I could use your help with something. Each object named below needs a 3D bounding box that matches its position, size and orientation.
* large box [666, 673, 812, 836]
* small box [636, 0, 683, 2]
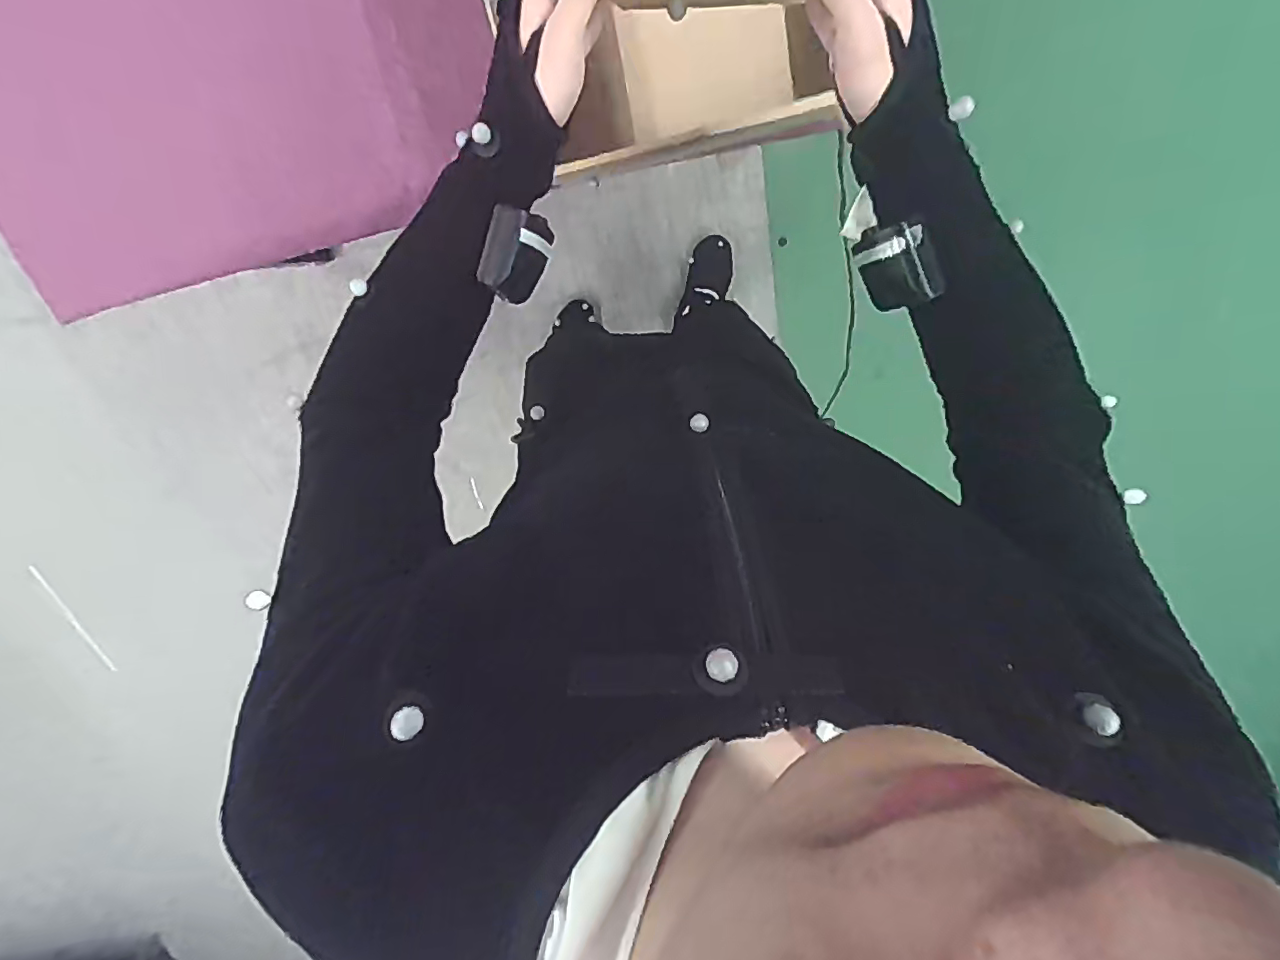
[{"bbox_3d":[0.346,1.010,2.000,0.320,0.320,0.408,42,106,-18],"label":"large box"},{"bbox_3d":[0.046,-0.444,0.361,0.168,0.176,0.179,4,125,8],"label":"small box"}]
